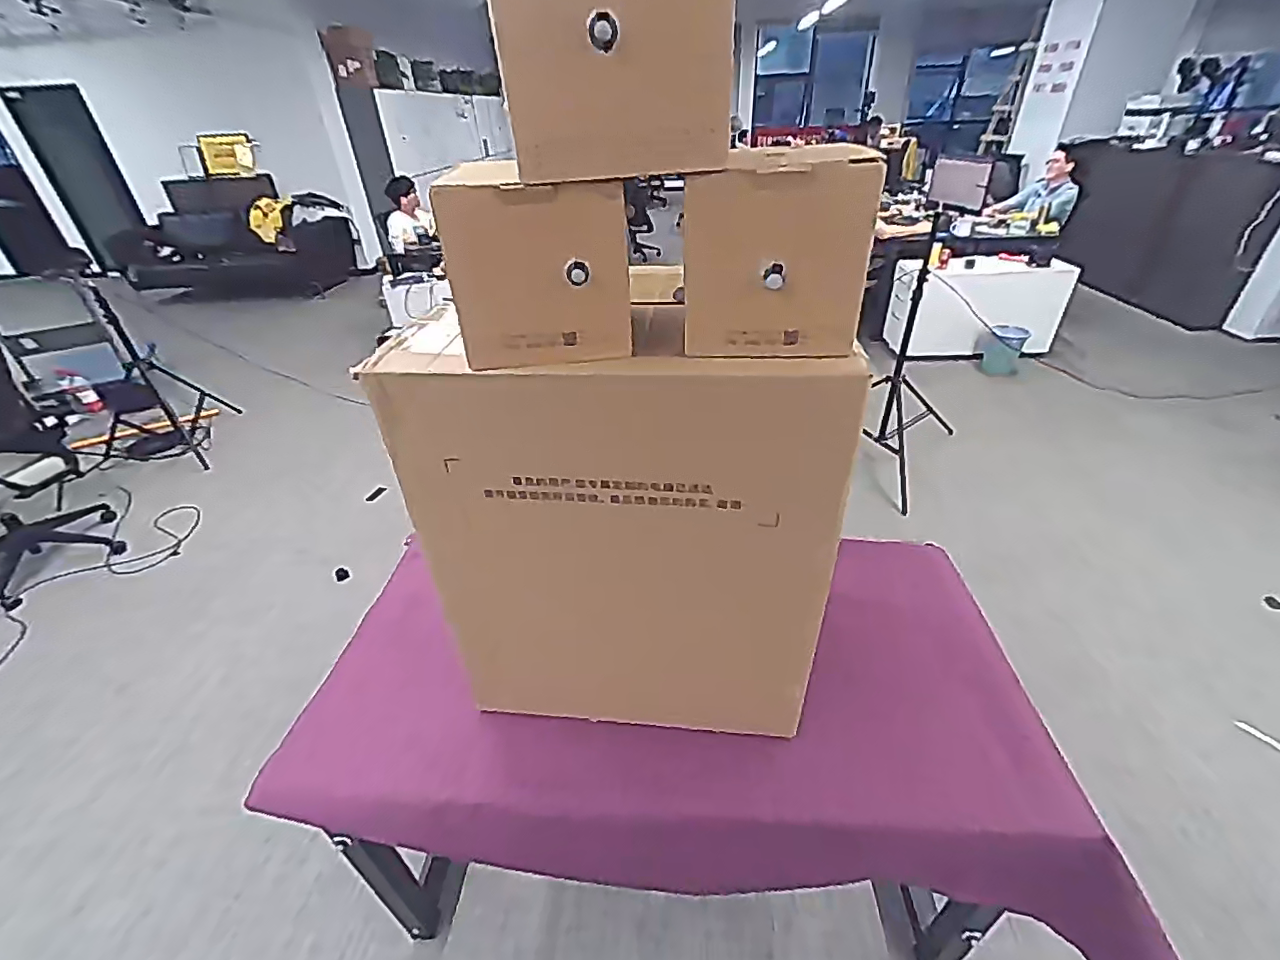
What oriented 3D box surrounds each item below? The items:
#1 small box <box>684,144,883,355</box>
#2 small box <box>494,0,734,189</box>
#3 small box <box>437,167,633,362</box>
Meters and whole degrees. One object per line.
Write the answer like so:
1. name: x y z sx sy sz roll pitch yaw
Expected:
1. small box: 0.134 -0.238 0.562 0.168 0.176 0.179 2 36 7
2. small box: -0.016 -0.361 0.466 0.179 0.176 0.168 -5 36 1
3. small box: -0.098 -0.231 0.575 0.168 0.176 0.179 -4 34 -5
